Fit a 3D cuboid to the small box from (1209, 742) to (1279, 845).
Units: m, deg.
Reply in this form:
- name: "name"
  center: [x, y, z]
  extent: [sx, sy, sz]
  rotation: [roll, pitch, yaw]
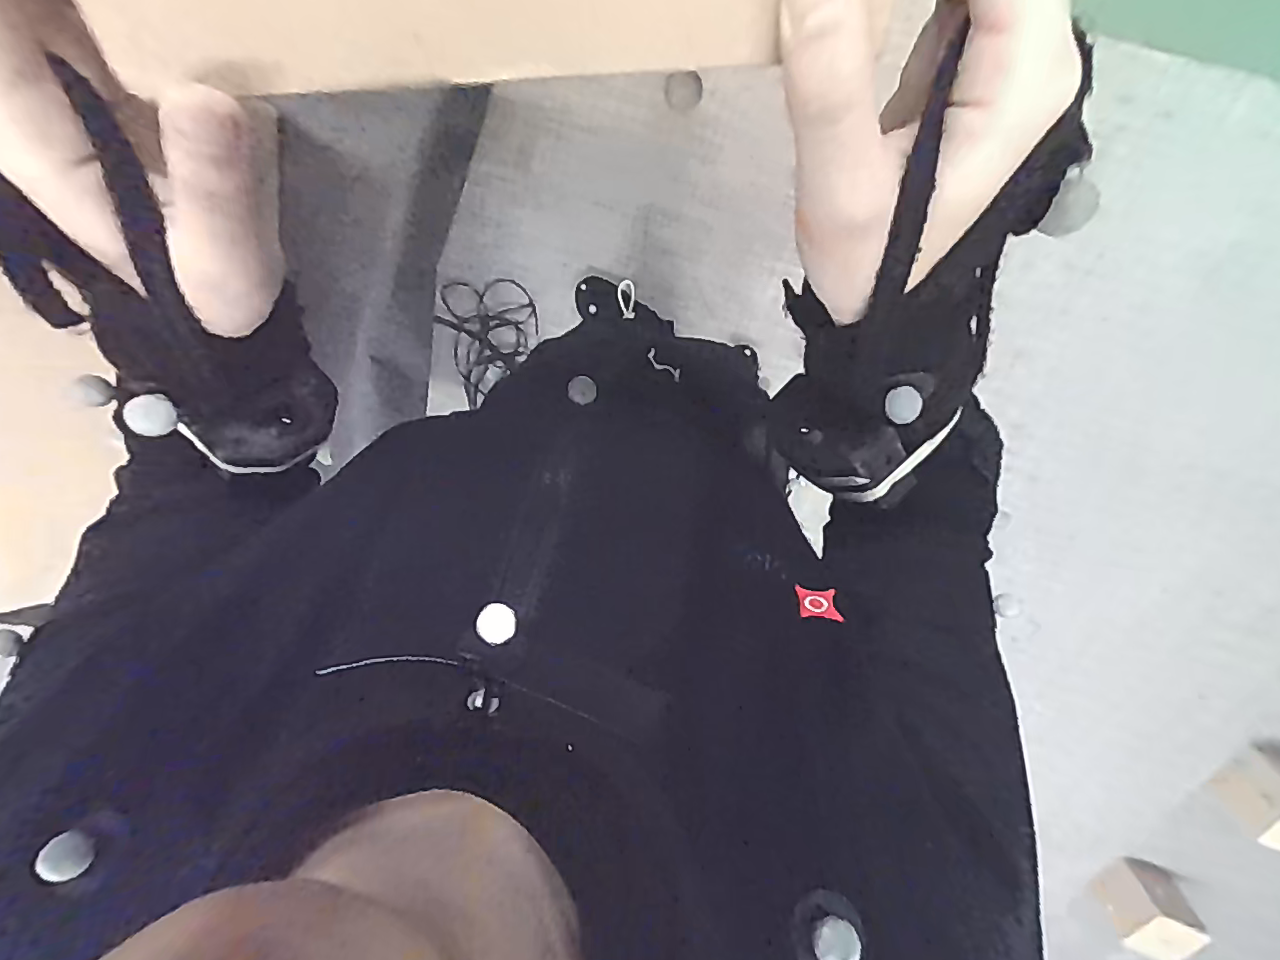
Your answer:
- name: "small box"
  center: [1.712, 0.851, 1.453]
  extent: [0.168, 0.176, 0.179]
  rotation: [19, 113, 0]

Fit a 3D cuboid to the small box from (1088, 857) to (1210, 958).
- name: "small box"
  center: [1.547, 1.302, 1.660]
  extent: [0.179, 0.176, 0.168]
  rotation: [23, 115, -3]
